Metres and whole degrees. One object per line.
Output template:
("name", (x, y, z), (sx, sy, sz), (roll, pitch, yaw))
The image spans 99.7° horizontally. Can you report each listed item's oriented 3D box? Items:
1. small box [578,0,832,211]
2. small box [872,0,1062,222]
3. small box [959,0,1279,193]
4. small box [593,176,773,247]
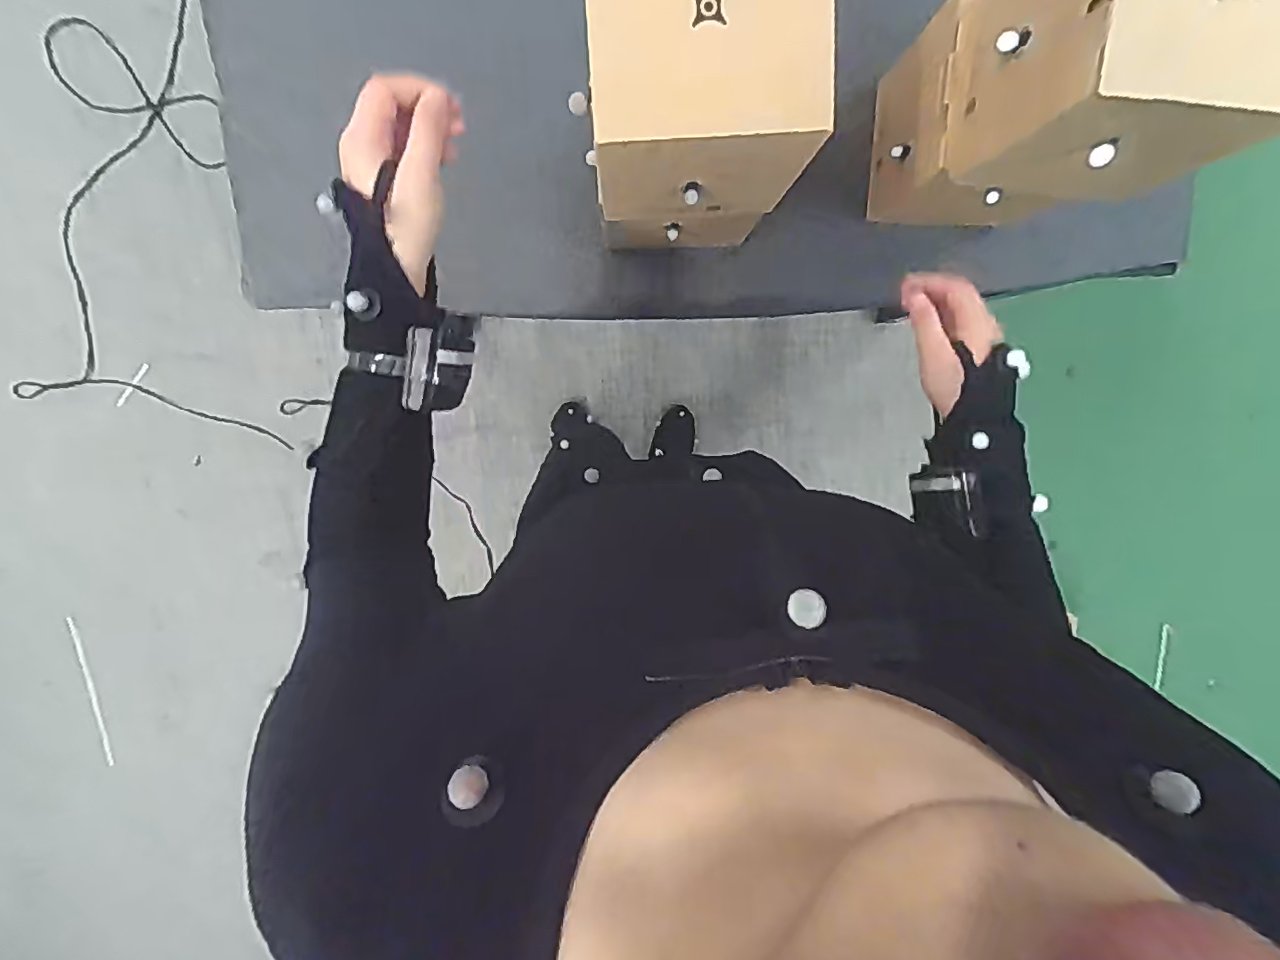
("small box", (0.041, -0.325, 0.424), (0.168, 0.176, 0.179), (-3, 99, -1))
("small box", (0.378, -0.393, 0.590), (0.179, 0.176, 0.168), (1, 100, -3))
("small box", (0.394, -0.349, 0.432), (0.179, 0.176, 0.168), (4, 100, -2))
("small box", (0.040, -0.360, 0.585), (0.179, 0.176, 0.168), (-2, 99, 0))
